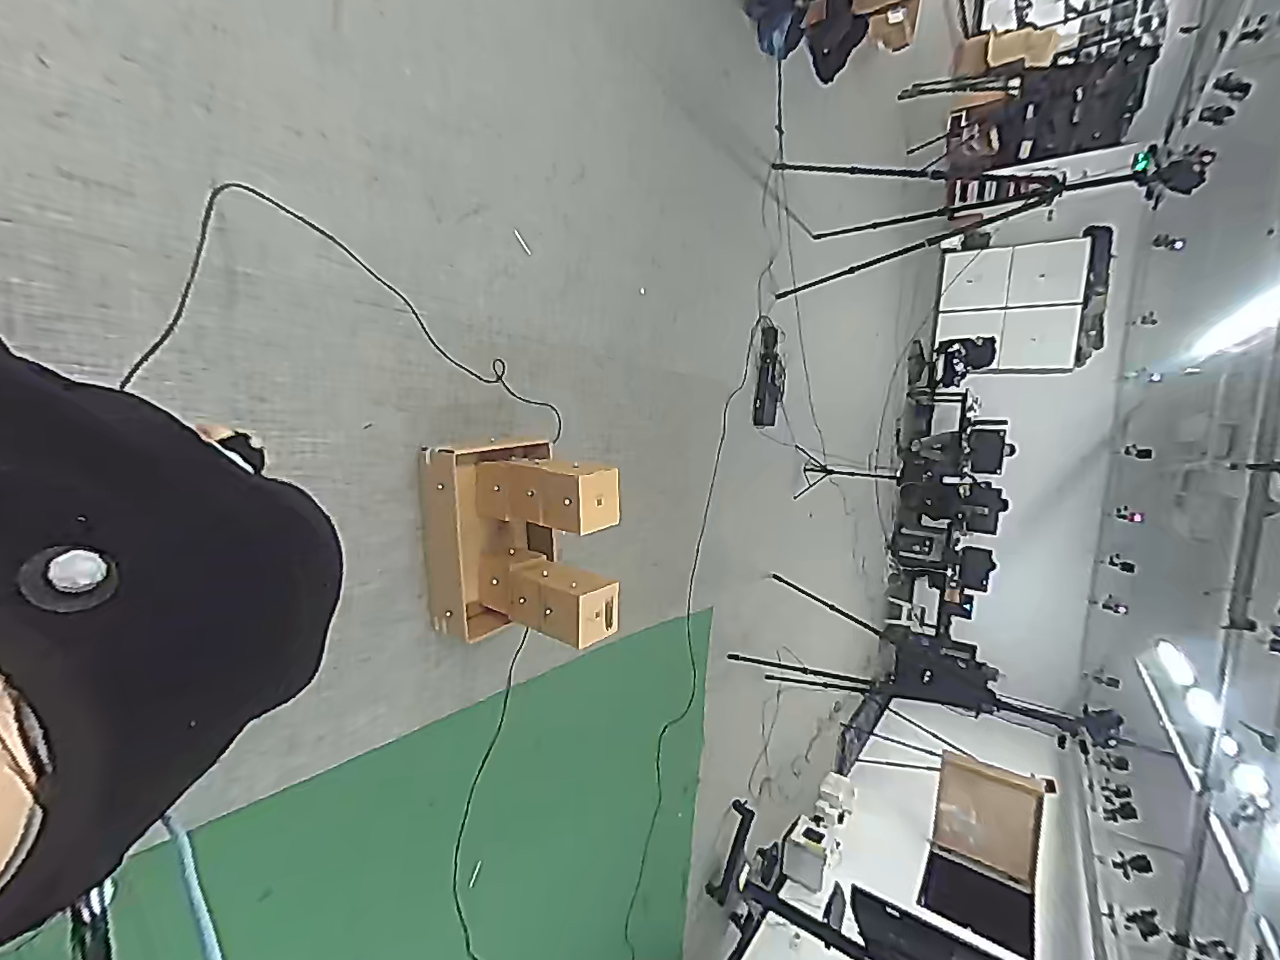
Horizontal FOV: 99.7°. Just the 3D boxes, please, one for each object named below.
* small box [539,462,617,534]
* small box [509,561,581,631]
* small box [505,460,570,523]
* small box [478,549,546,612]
[{"bbox_3d":[-0.186,0.047,1.616,0.168,0.176,0.179,-15,107,-49],"label":"small box"},{"bbox_3d":[-0.314,0.373,1.771,0.179,0.176,0.168,-9,104,-53],"label":"small box"},{"bbox_3d":[-0.314,0.028,1.714,0.168,0.176,0.179,-8,103,-51],"label":"small box"},{"bbox_3d":[-0.443,0.342,1.868,0.168,0.176,0.179,-9,102,-52],"label":"small box"}]
